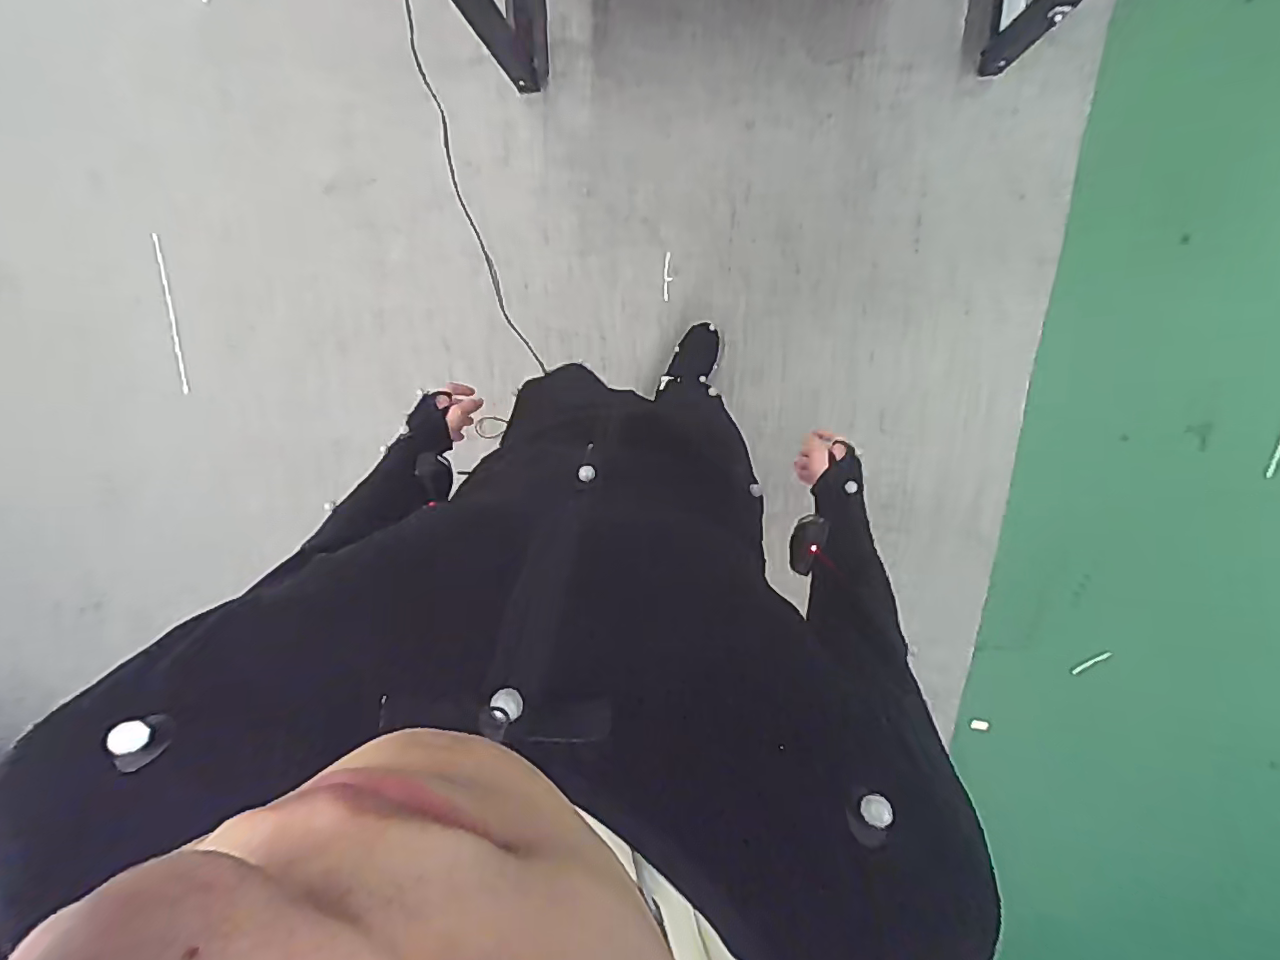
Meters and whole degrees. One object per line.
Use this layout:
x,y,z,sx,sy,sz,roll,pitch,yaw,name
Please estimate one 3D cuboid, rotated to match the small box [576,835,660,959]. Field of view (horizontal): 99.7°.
-0.047,0.999,1.295,0.168,0.176,0.179,11,107,4,small box
